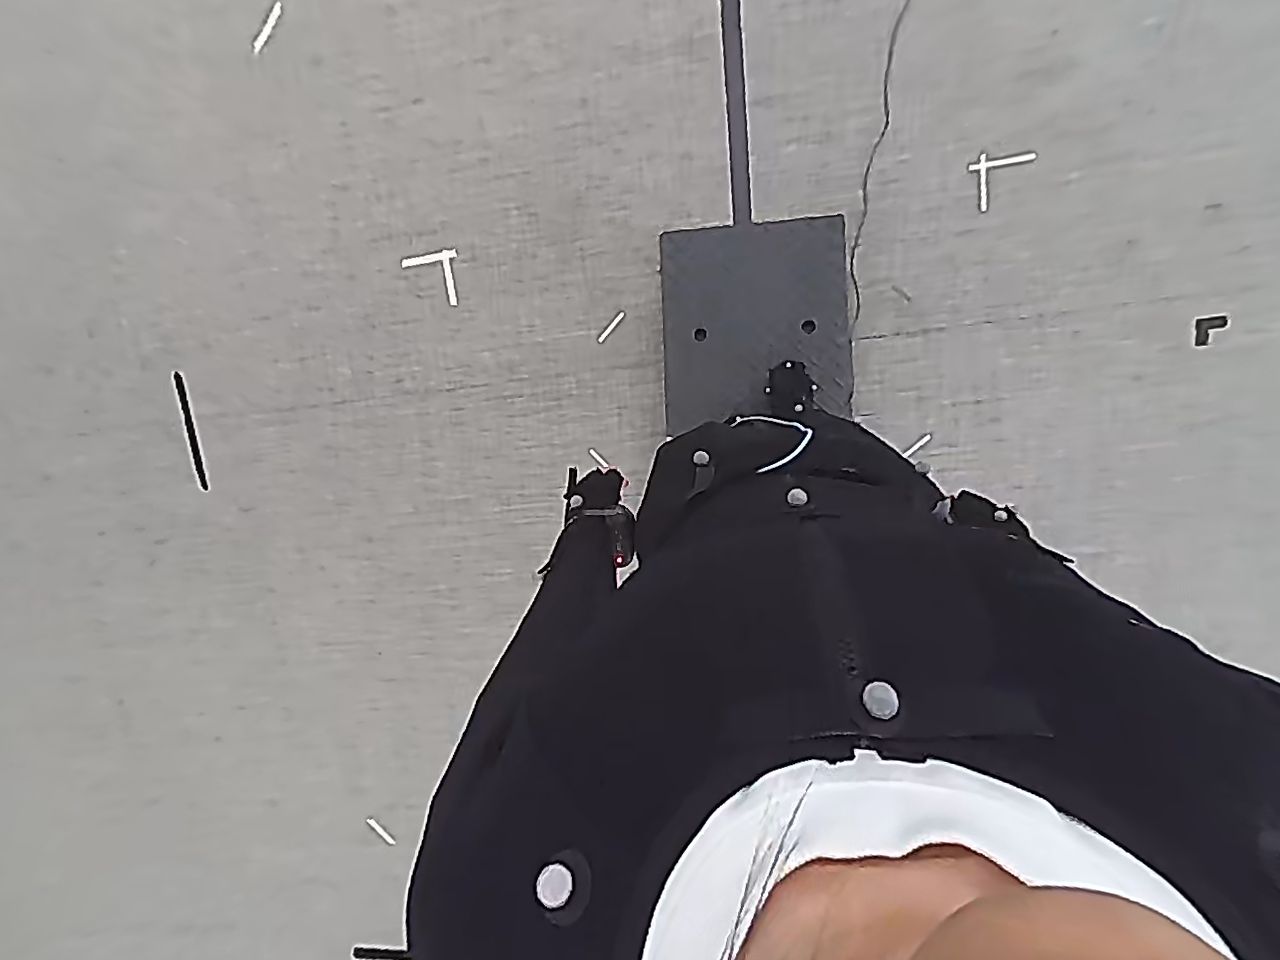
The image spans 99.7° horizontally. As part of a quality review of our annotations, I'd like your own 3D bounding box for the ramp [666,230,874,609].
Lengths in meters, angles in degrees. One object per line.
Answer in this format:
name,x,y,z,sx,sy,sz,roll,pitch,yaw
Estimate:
ramp,0.334,-0.160,1.458,0.509,0.206,0.991,-5,96,11
